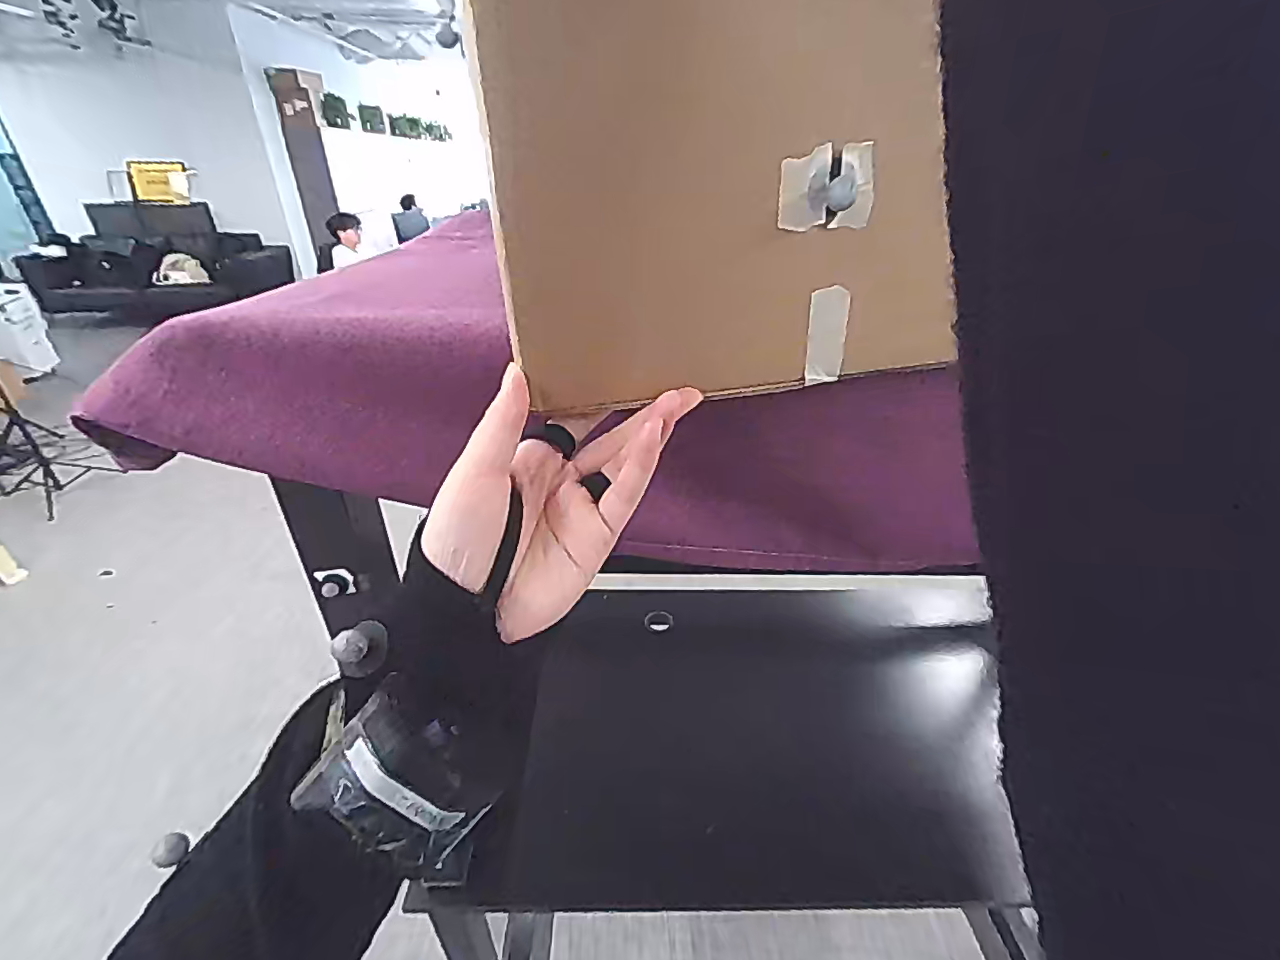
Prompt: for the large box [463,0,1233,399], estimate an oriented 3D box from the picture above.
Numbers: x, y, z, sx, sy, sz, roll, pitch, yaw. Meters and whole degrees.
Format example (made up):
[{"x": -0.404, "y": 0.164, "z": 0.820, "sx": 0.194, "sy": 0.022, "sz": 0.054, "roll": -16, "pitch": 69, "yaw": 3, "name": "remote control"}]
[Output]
[{"x": 0.052, "y": -0.290, "z": 0.341, "sx": 0.320, "sy": 0.320, "sz": 0.408, "roll": -8, "pitch": 38, "yaw": -12, "name": "large box"}]
